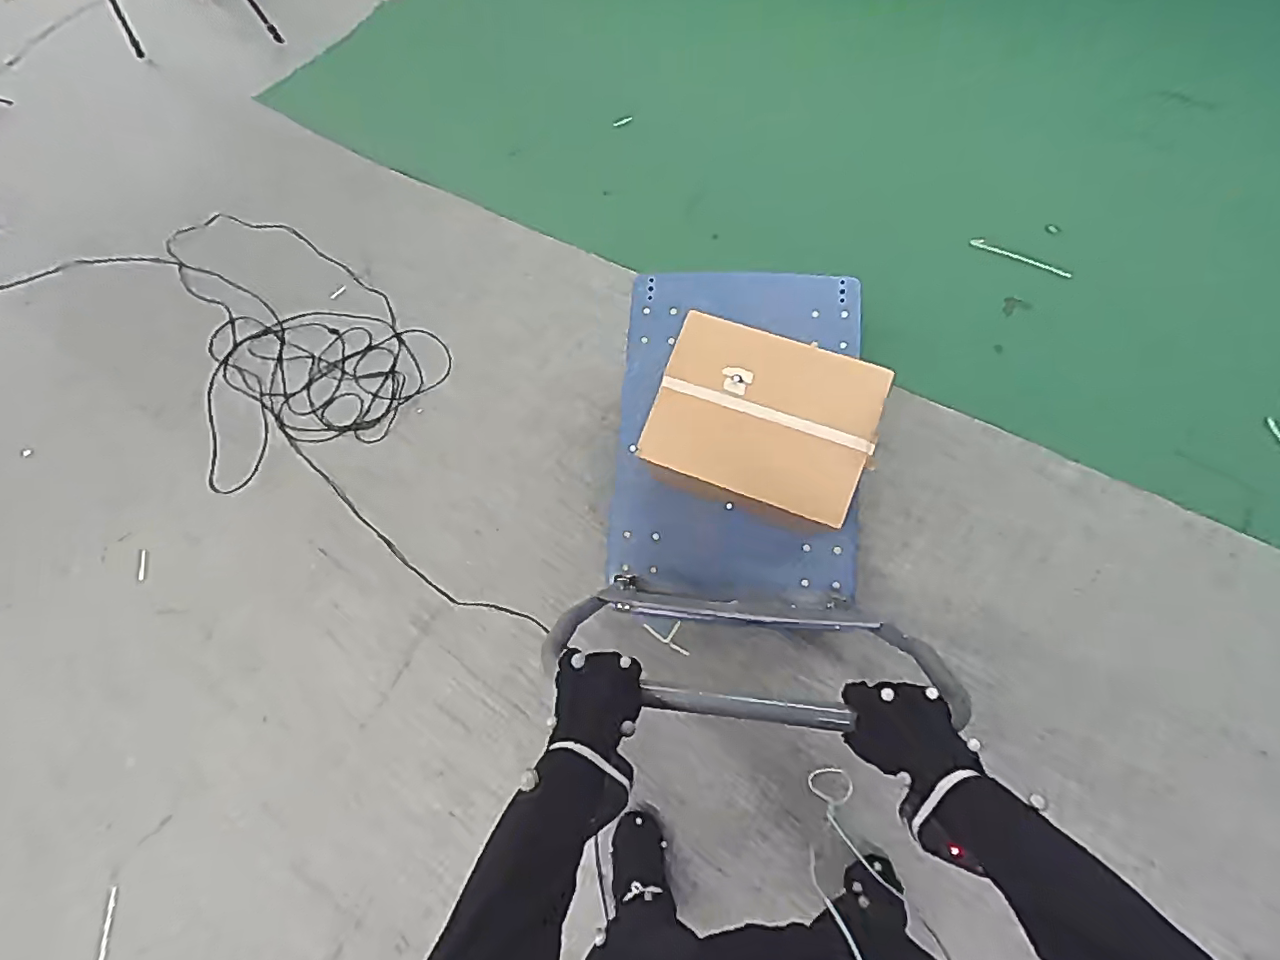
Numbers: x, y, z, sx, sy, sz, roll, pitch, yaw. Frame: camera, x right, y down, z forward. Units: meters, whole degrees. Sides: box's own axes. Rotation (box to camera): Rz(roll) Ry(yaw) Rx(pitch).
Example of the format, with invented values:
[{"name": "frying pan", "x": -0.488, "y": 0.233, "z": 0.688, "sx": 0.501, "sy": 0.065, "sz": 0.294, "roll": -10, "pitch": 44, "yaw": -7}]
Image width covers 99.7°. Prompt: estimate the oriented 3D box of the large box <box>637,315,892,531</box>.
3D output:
[{"name": "large box", "x": 0.254, "y": -0.101, "z": 1.157, "sx": 0.408, "sy": 0.320, "sz": 0.320, "roll": 20, "pitch": 85, "yaw": 11}]
